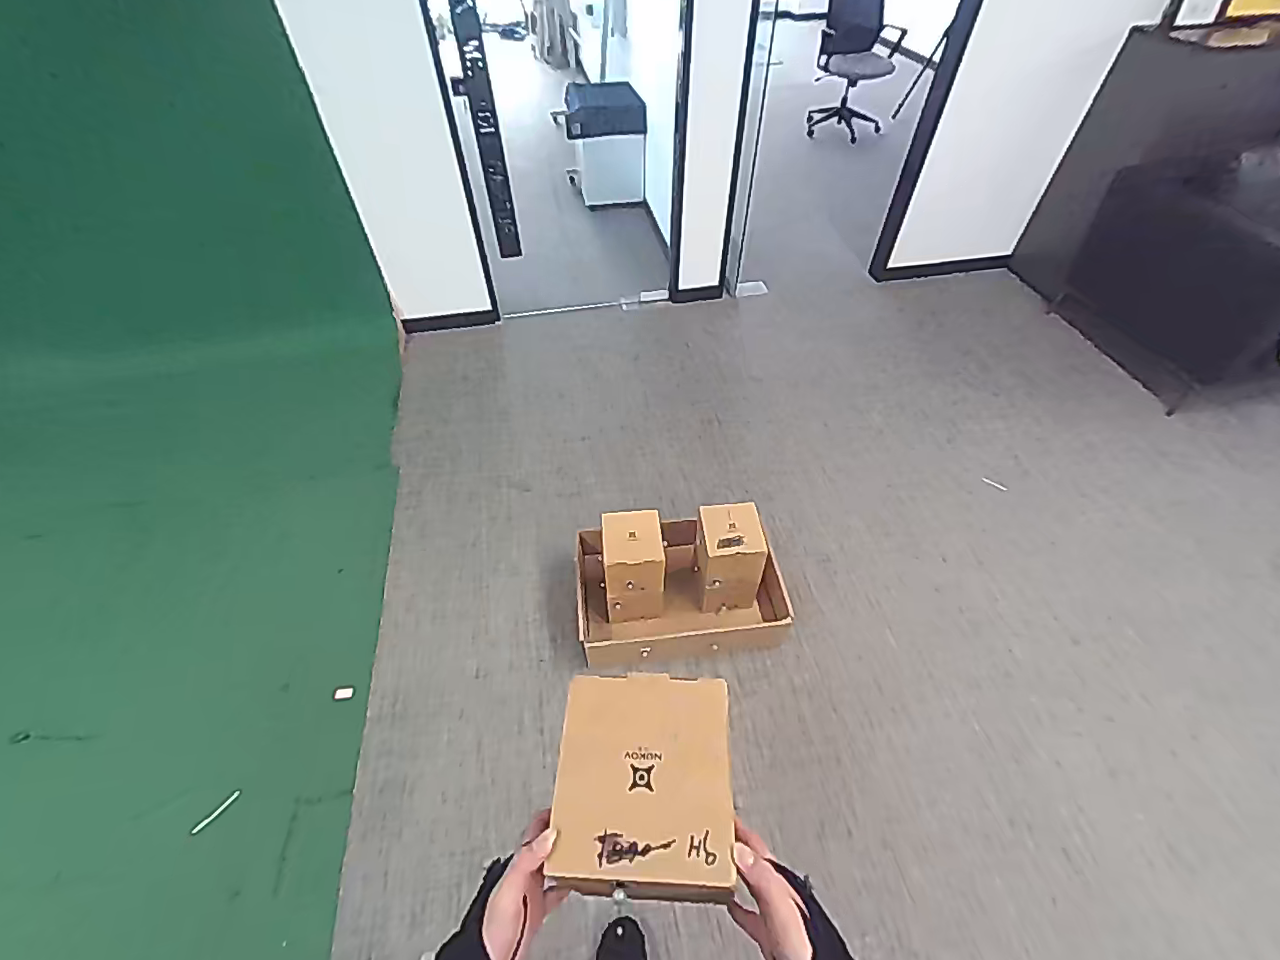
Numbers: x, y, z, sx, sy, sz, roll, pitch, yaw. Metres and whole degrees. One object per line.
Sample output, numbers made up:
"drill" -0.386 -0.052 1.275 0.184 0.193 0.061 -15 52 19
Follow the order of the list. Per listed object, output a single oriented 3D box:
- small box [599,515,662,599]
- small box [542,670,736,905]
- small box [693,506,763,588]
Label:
"small box" -0.033 0.221 1.549 0.168 0.176 0.179 -4 48 -5
"small box" 0.009 0.319 0.563 0.168 0.176 0.179 0 48 6
"small box" 0.249 0.200 1.568 0.168 0.176 0.179 -4 48 -2
